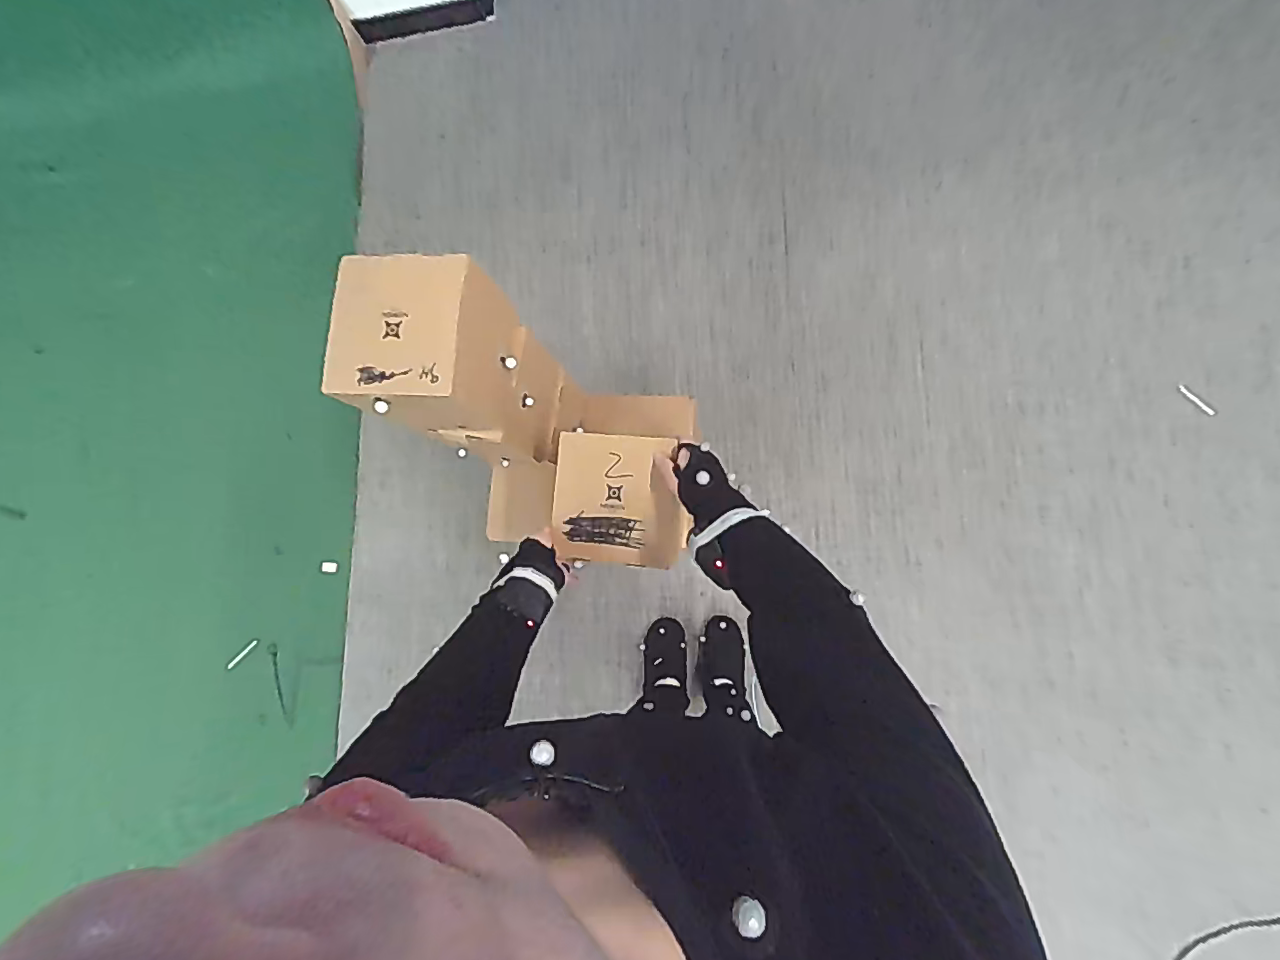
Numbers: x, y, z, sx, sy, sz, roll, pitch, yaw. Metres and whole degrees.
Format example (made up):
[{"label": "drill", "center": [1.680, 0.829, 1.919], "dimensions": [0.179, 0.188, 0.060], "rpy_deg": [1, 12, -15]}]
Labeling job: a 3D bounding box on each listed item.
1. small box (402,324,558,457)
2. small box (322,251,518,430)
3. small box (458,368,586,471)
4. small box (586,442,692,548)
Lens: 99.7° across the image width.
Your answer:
[{"label": "small box", "center": [-0.245, -0.143, 0.871], "dimensions": [0.168, 0.176, 0.179], "rpy_deg": [10, 82, 10]}, {"label": "small box", "center": [-0.273, -0.175, 0.711], "dimensions": [0.168, 0.176, 0.179], "rpy_deg": [3, 81, 10]}, {"label": "small box", "center": [-0.217, -0.117, 1.031], "dimensions": [0.179, 0.176, 0.168], "rpy_deg": [9, 83, 9]}, {"label": "small box", "center": [0.006, 0.032, 0.974], "dimensions": [0.168, 0.176, 0.179], "rpy_deg": [0, 81, 9]}]
